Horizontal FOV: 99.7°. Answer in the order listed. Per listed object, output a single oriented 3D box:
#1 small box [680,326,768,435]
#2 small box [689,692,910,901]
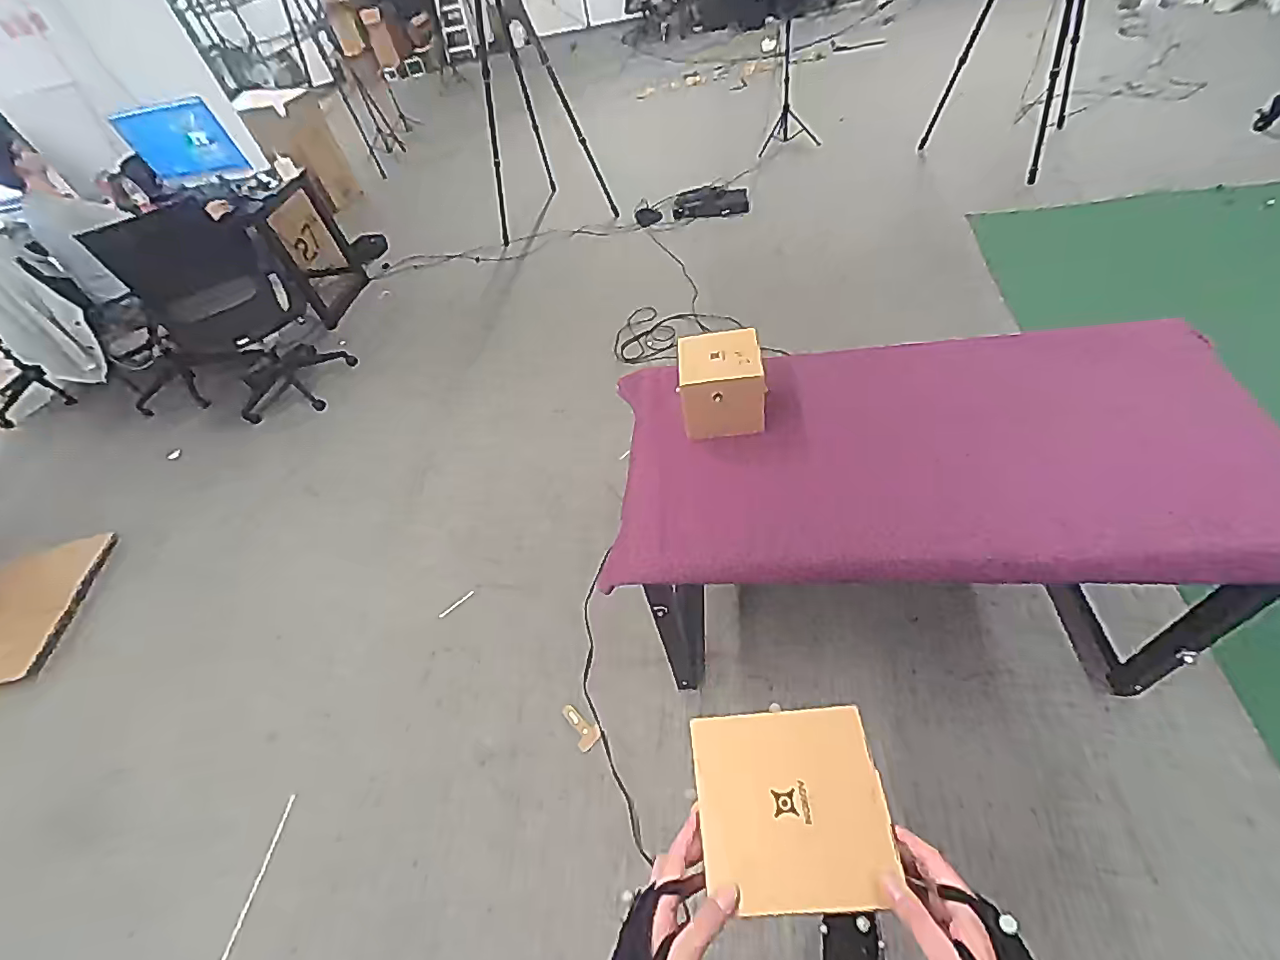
[{"bbox_3d":[0.187,-0.216,1.205,0.179,0.176,0.168,-5,50,9],"label":"small box"},{"bbox_3d":[0.151,0.339,0.573,0.179,0.176,0.168,-6,52,4],"label":"small box"}]
